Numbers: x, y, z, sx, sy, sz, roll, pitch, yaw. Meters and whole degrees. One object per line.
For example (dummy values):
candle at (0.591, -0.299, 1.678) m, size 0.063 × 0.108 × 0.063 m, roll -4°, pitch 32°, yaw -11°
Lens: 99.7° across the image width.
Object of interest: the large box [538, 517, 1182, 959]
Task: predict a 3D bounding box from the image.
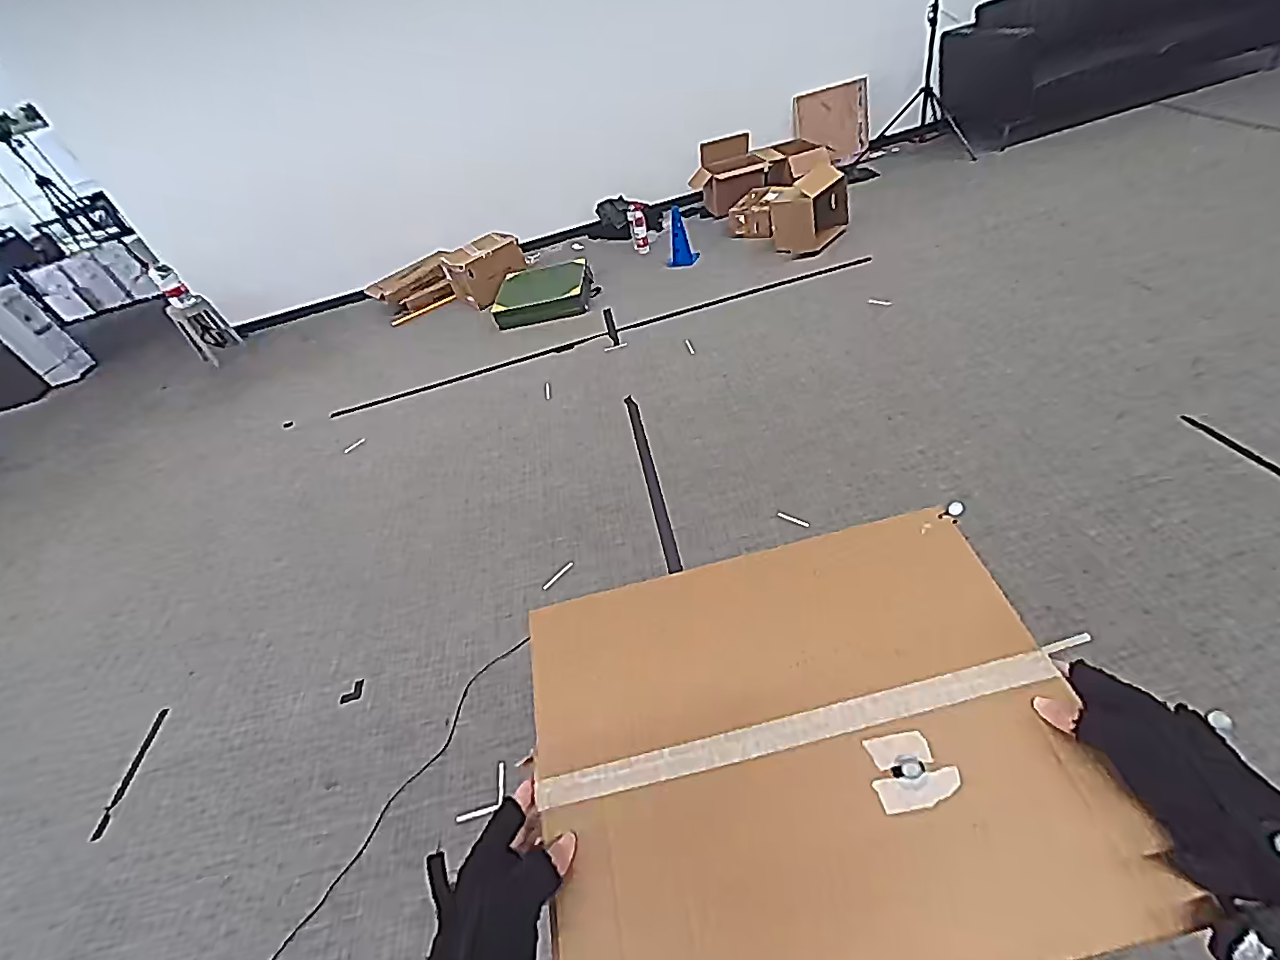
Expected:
large box at (0.145, 0.292, 0.546) m, size 0.408 × 0.320 × 0.320 m, roll -15°, pitch 52°, yaw 1°
